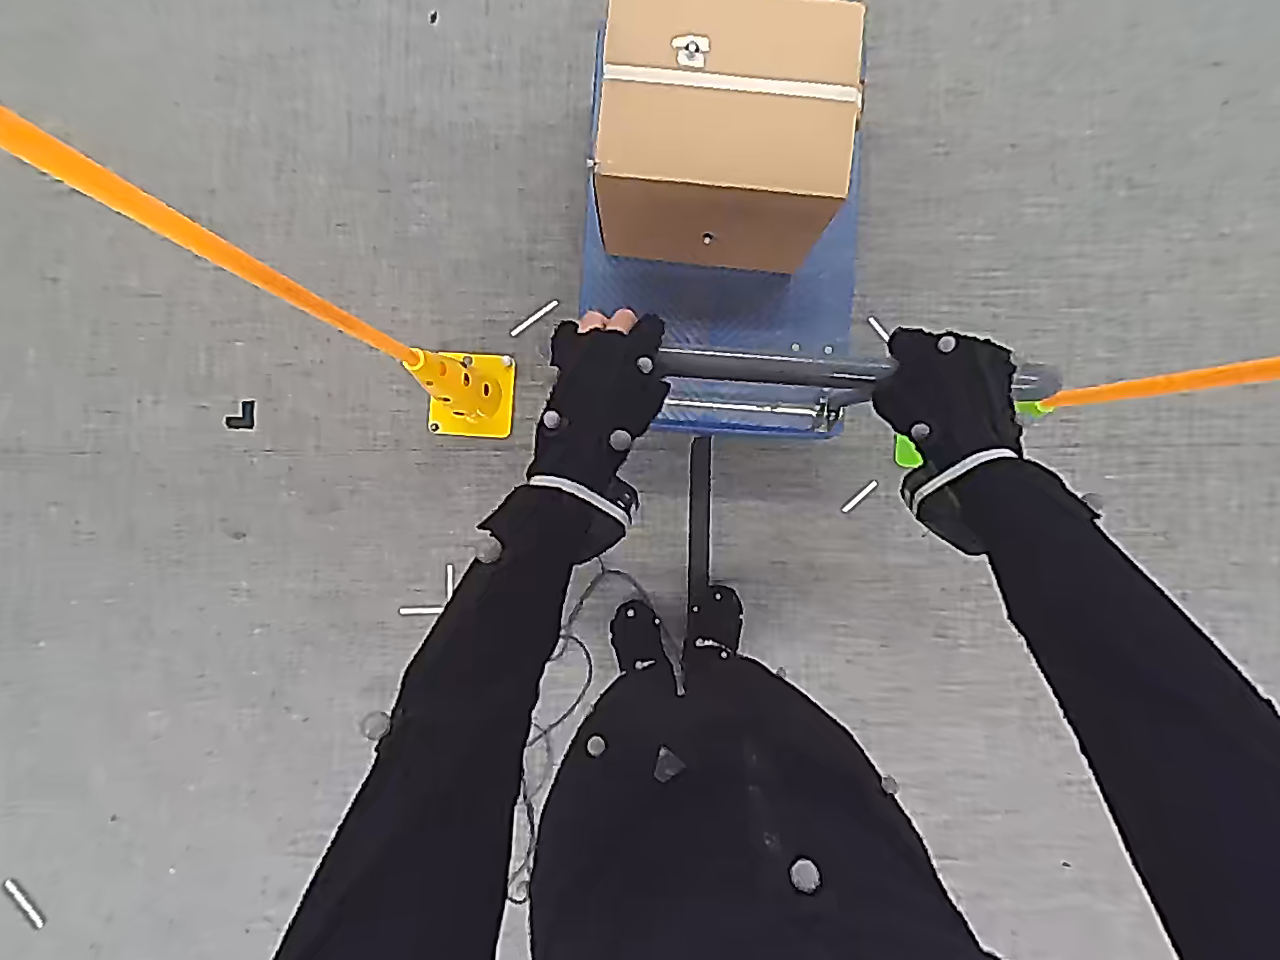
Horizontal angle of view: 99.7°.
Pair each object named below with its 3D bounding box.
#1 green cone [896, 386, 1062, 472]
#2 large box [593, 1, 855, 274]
[{"bbox_3d":[0.724,-0.129,1.138,0.202,0.368,0.200,4,88,-1],"label":"green cone"},{"bbox_3d":[0.138,-0.601,1.011,0.408,0.320,0.320,6,89,1],"label":"large box"}]
